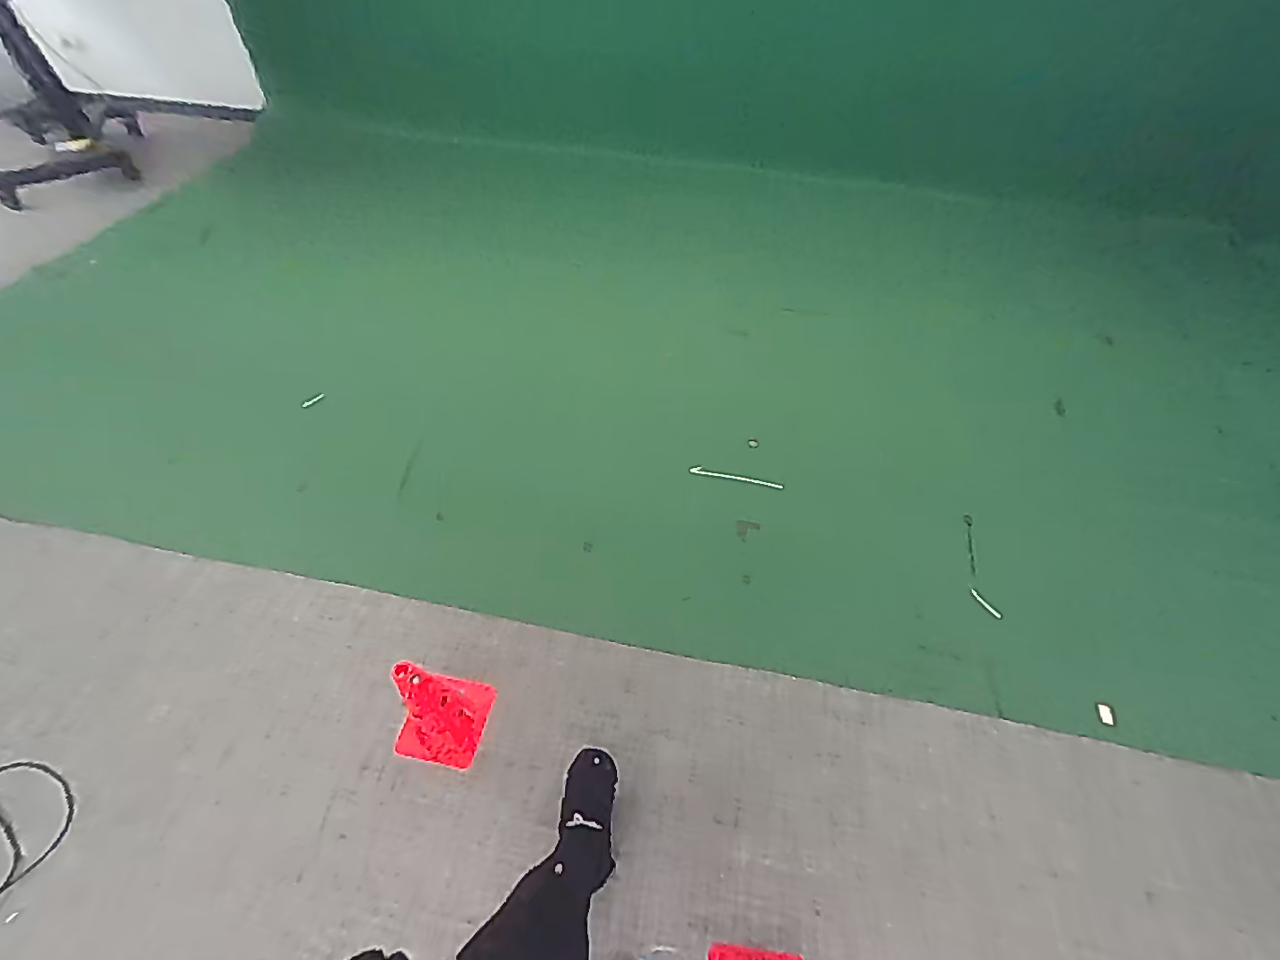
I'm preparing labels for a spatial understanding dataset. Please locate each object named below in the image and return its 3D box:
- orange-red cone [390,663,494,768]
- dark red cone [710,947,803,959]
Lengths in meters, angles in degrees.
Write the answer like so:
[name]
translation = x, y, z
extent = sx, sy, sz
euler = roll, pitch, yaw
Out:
[orange-red cone]
translation = -0.485, 0.497, 1.227
extent = 0.198, 0.360, 0.199
euler = 9, 53, 7
[dark red cone]
translation = 0.231, 0.912, 0.889
extent = 0.202, 0.394, 0.201
euler = 5, 50, 3
